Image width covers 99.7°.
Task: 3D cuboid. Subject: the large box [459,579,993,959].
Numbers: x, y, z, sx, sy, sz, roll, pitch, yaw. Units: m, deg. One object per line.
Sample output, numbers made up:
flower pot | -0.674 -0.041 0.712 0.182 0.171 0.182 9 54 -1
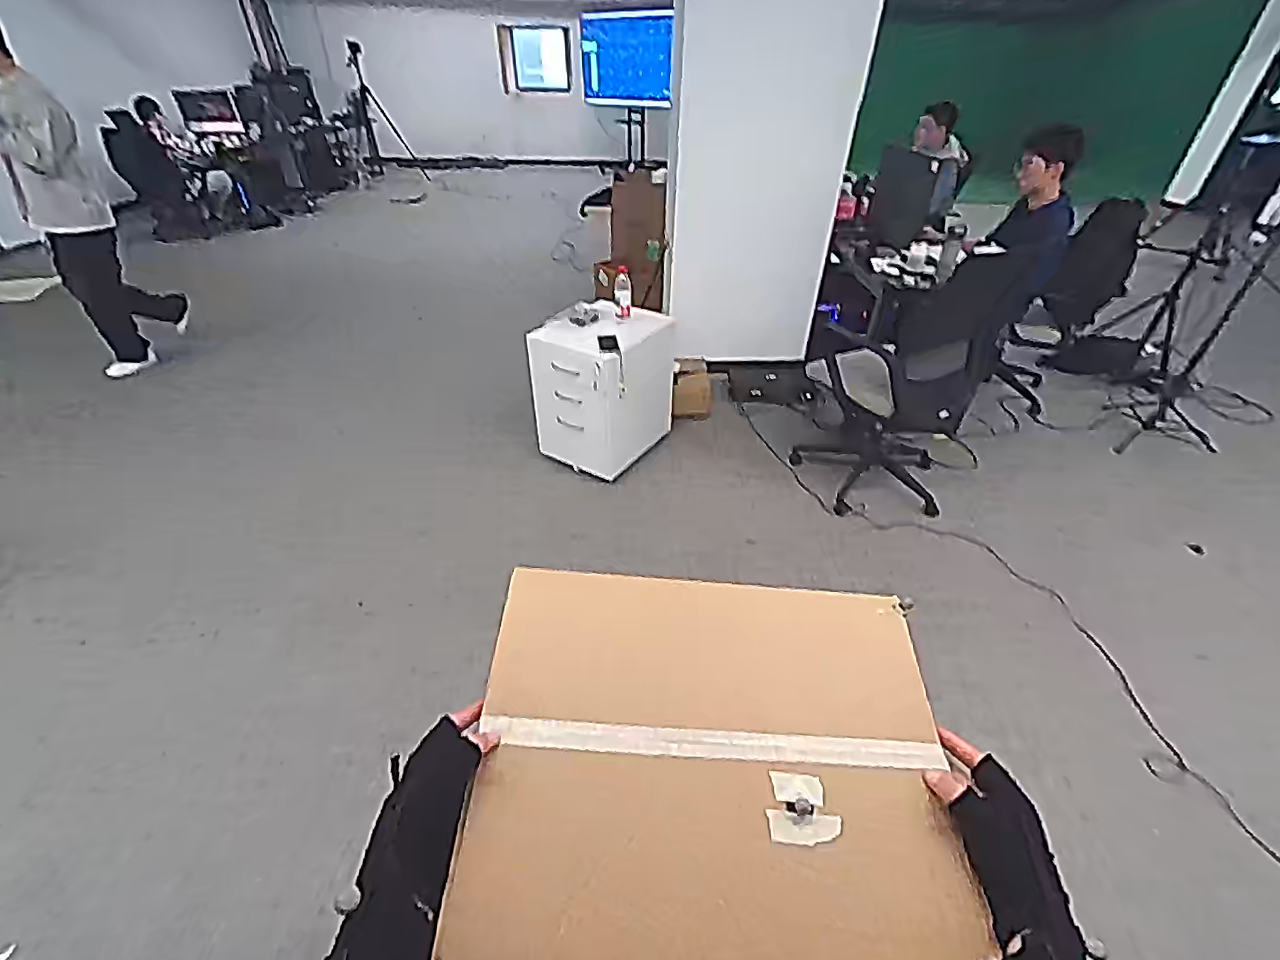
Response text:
large box | 0.056 0.329 0.598 0.408 0.320 0.320 4 51 -3
